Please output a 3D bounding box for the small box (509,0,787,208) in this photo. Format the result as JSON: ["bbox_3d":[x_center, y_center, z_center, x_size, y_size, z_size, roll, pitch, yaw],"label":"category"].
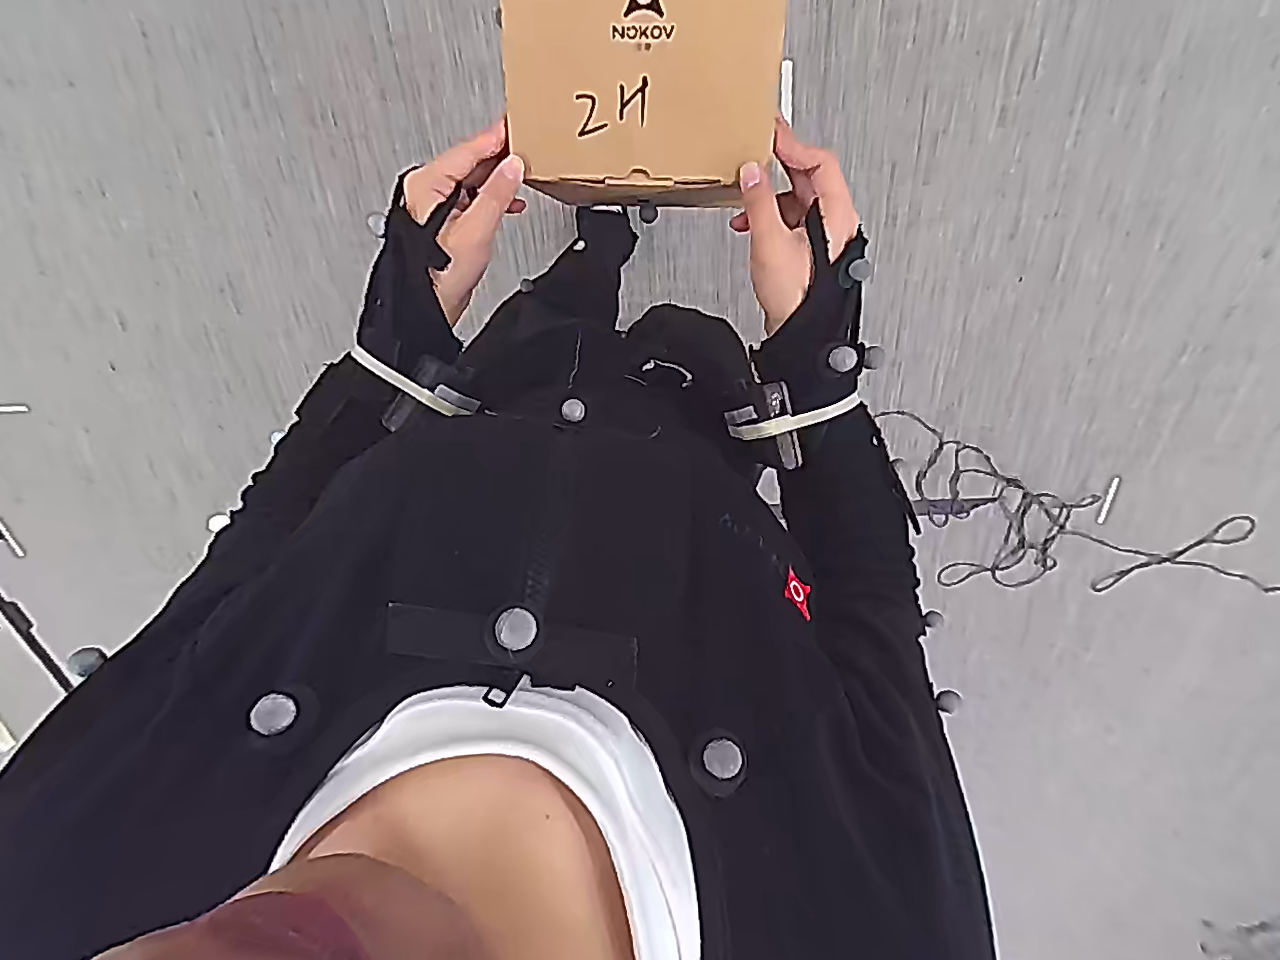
[{"bbox_3d":[0.009,-0.305,0.390,0.168,0.176,0.179,3,112,4],"label":"small box"}]
